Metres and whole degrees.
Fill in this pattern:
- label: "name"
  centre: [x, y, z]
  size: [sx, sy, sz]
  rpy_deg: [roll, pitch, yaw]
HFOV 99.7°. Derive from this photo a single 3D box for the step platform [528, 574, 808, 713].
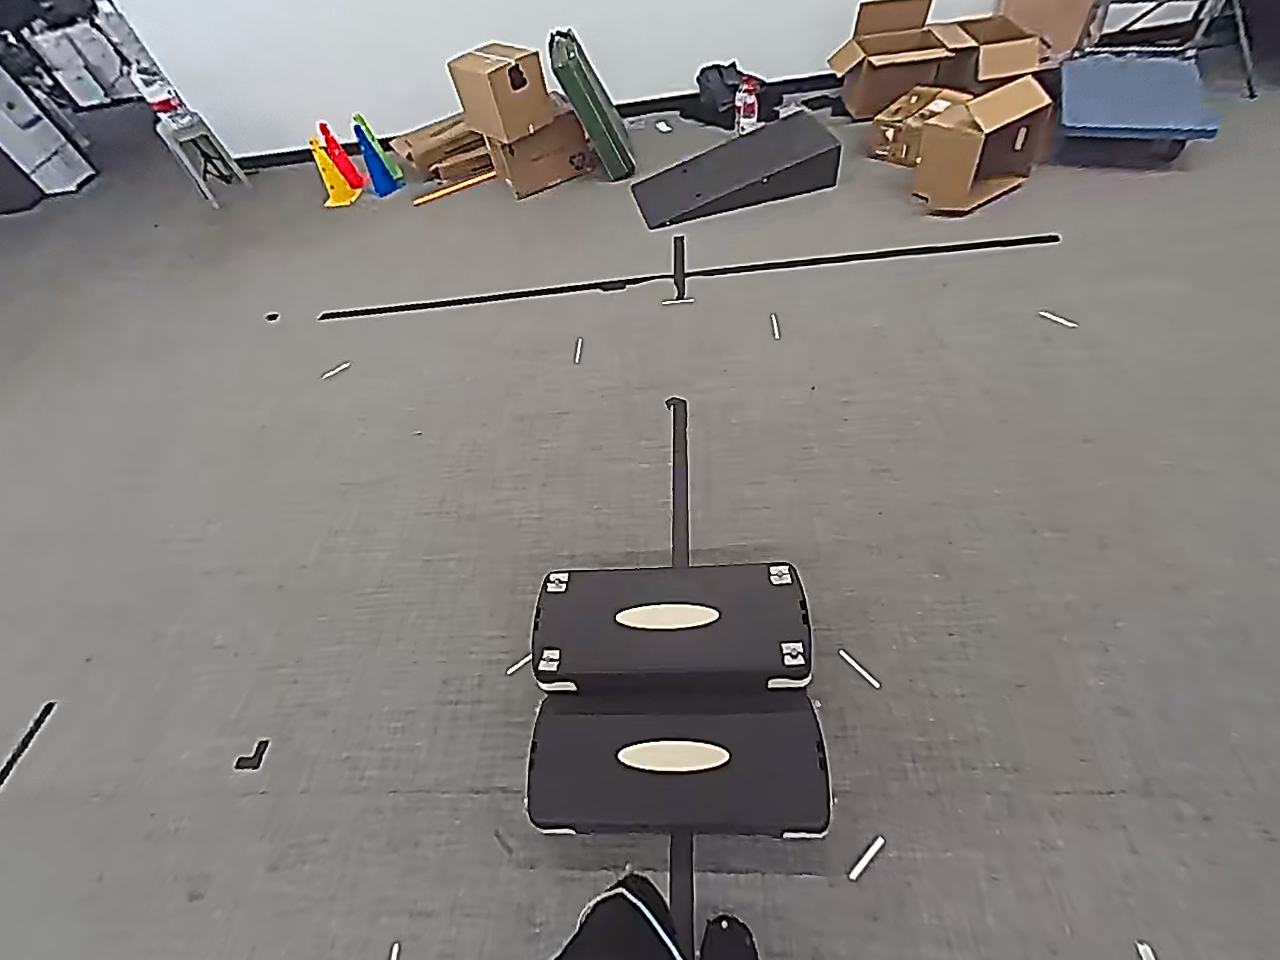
- label: "step platform"
  centre: [0.065, 0.409, 1.360]
  size: [0.684, 0.204, 0.286]
  rpy_deg: [-3, 54, 6]
